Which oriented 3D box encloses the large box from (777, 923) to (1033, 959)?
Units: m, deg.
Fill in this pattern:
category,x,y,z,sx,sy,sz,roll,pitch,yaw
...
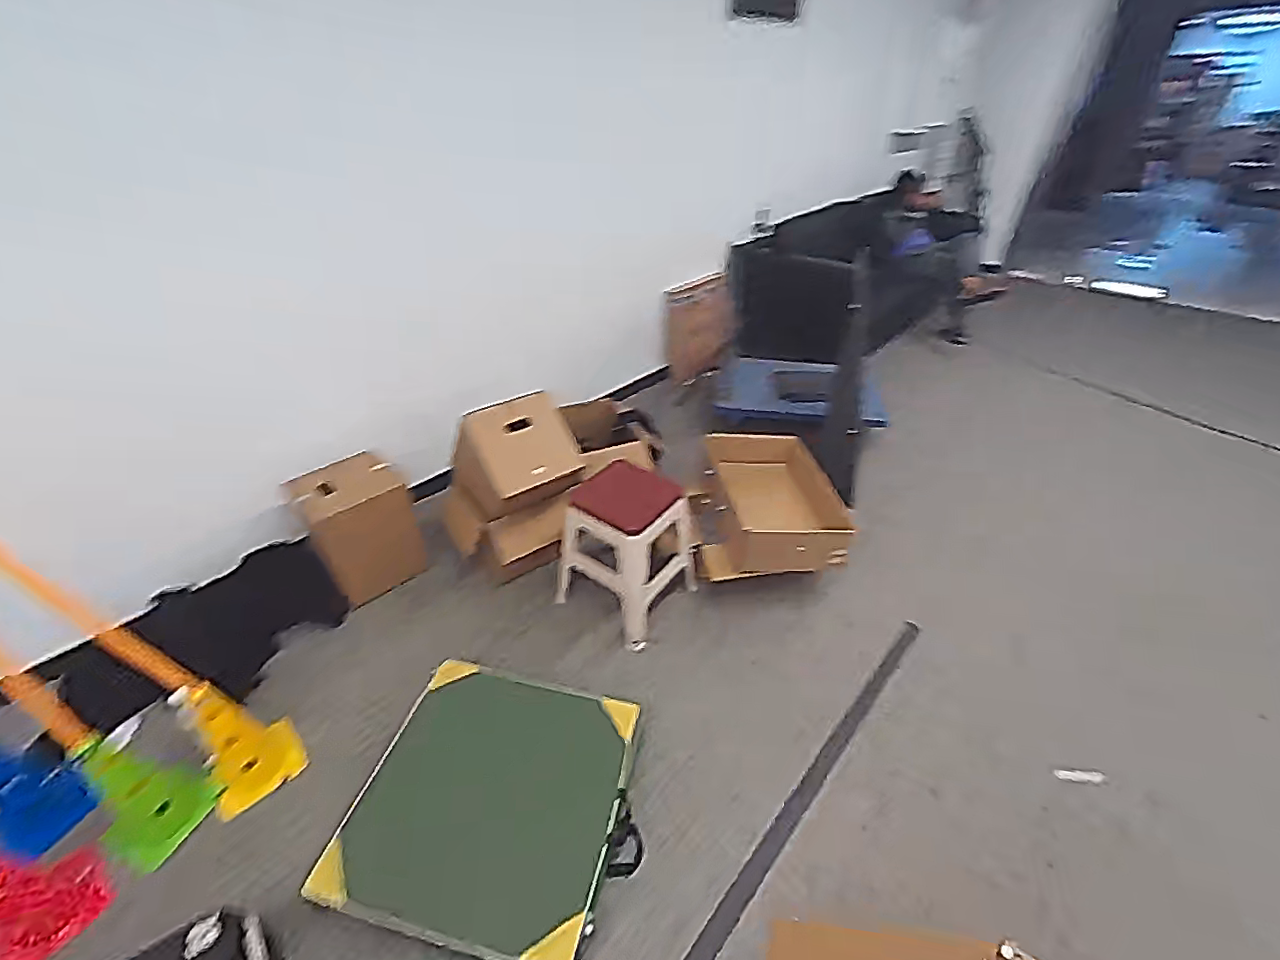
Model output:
category,x,y,z,sx,sy,sz,roll,pitch,yaw
large box,0.377,0.764,0.608,0.320,0.408,0.320,31,48,-6
